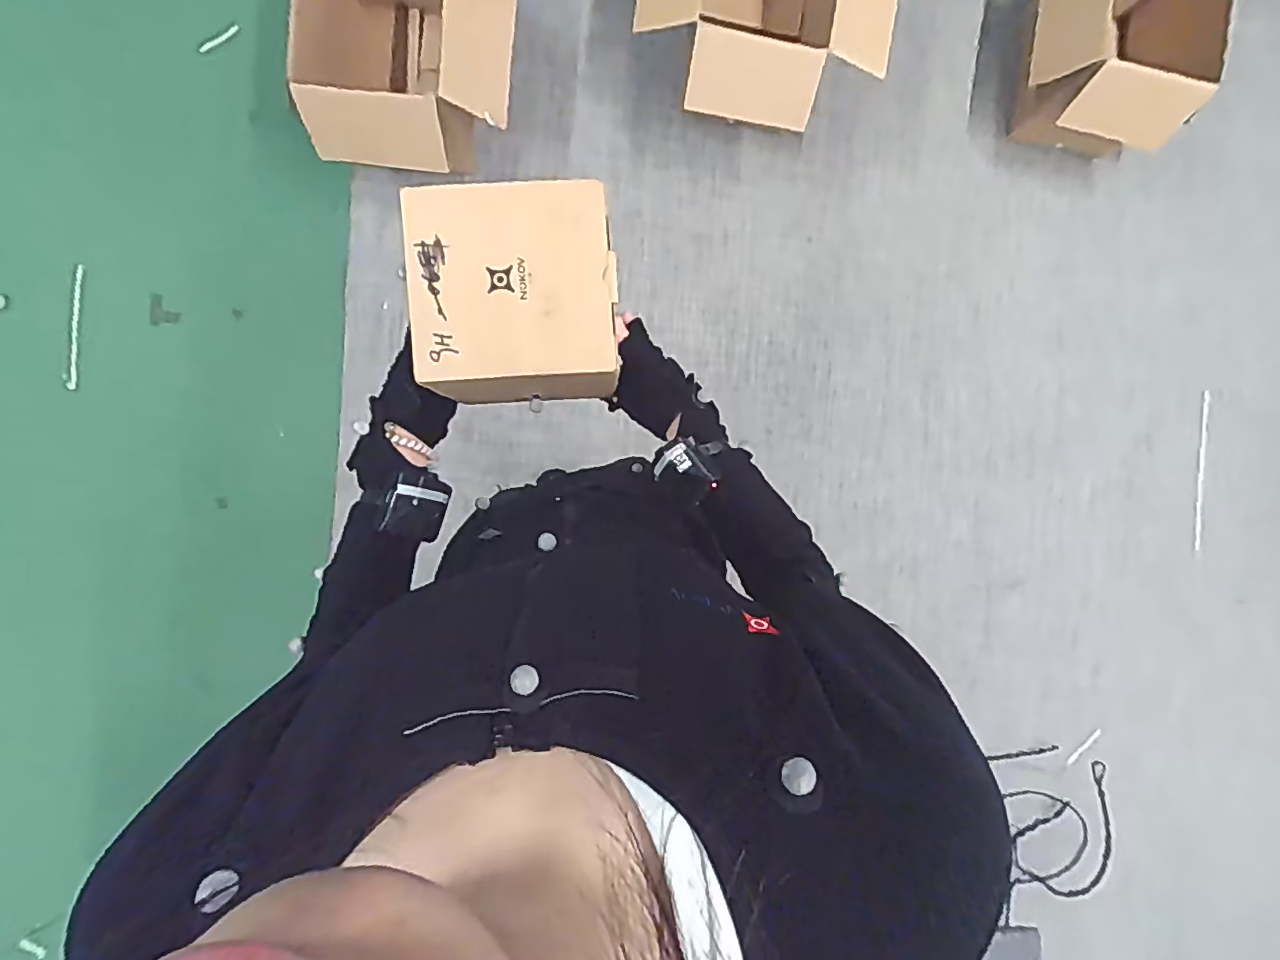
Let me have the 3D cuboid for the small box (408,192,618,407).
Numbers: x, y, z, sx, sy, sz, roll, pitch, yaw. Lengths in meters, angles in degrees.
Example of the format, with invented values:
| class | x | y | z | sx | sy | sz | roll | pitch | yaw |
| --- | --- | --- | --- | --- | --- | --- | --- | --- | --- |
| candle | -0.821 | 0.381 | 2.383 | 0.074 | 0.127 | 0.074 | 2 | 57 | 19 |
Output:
| class | x | y | z | sx | sy | sz | roll | pitch | yaw |
| --- | --- | --- | --- | --- | --- | --- | --- | --- | --- |
| small box | -0.117 | -0.168 | 0.550 | 0.179 | 0.176 | 0.168 | -3 | 90 | -5 |
